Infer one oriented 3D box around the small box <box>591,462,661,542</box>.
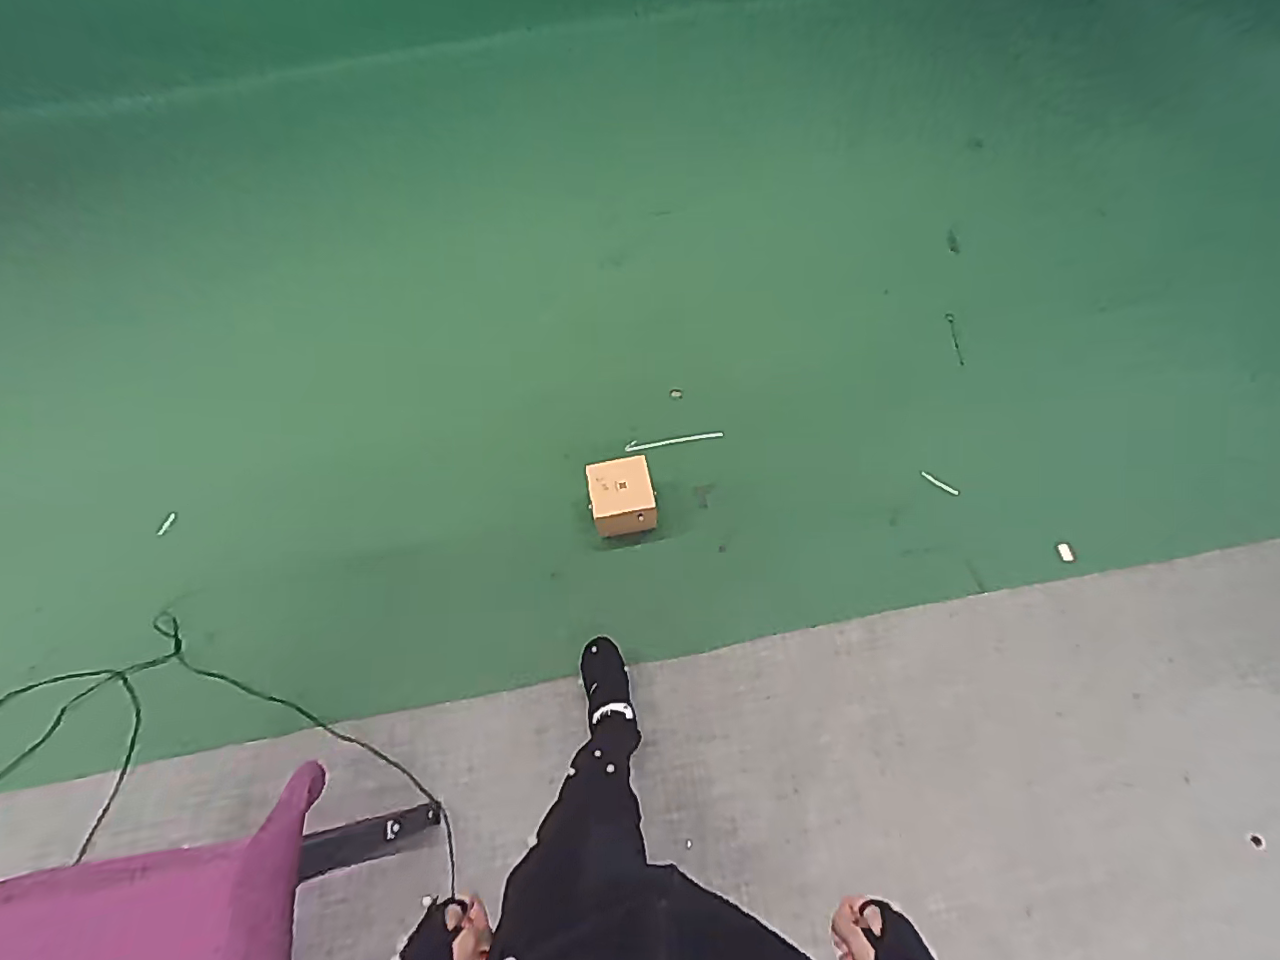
[{"bbox_3d":[-0.040,0.067,1.578,0.179,0.176,0.168,-11,64,-2],"label":"small box"}]
